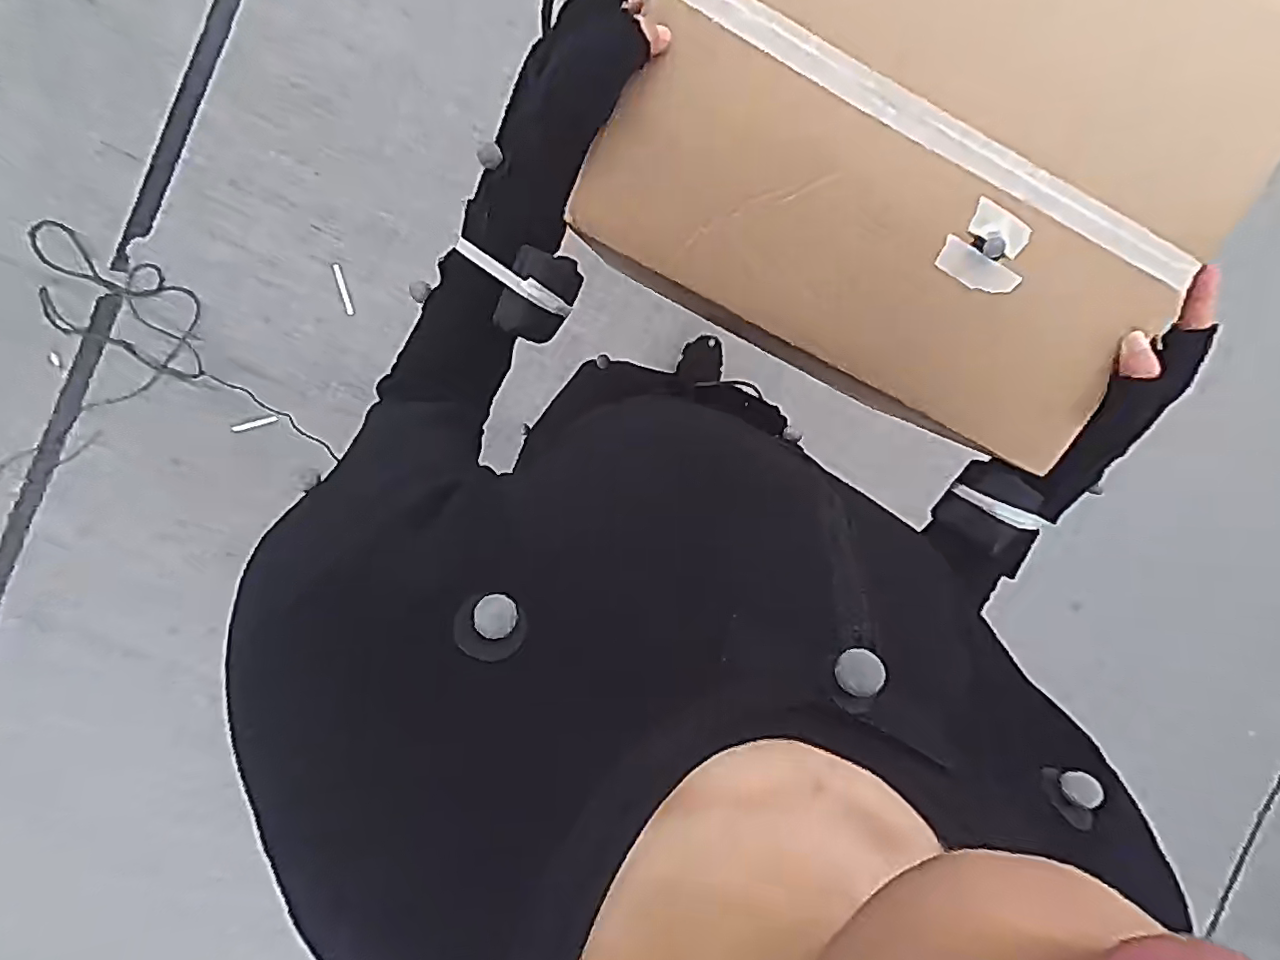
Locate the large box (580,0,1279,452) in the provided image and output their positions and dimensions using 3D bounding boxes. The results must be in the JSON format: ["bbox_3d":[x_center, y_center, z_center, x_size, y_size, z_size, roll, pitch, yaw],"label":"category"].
[{"bbox_3d":[0.199,-0.275,0.507,0.408,0.320,0.320,26,107,-7],"label":"large box"}]
